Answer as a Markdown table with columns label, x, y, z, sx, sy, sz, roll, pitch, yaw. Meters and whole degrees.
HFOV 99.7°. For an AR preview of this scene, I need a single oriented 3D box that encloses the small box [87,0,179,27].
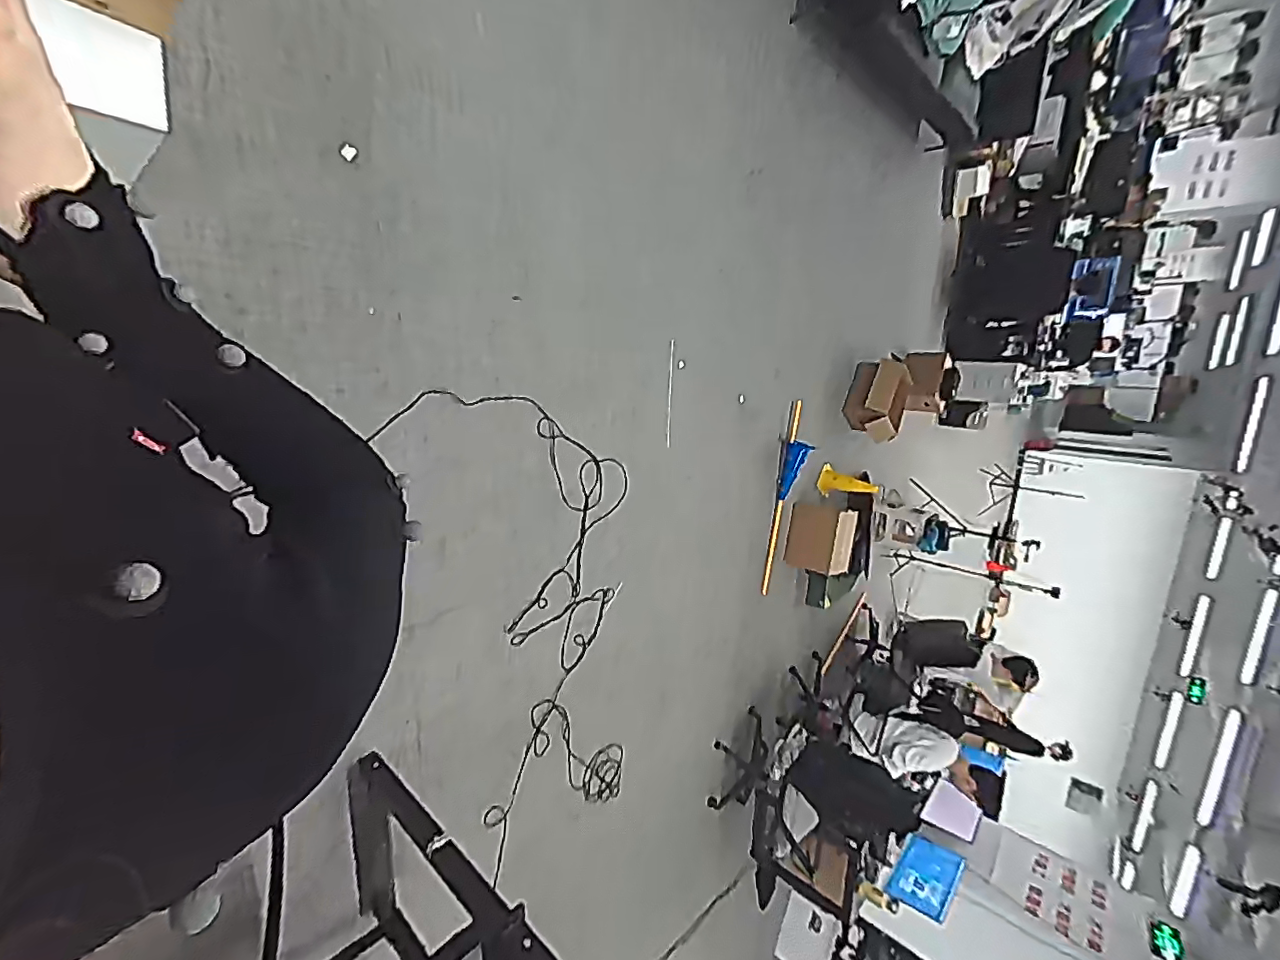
| label | x | y | z | sx | sy | sz | roll | pitch | yaw |
| --- | --- | --- | --- | --- | --- | --- | --- | --- | --- |
| small box | -0.552 | -0.599 | 0.519 | 0.168 | 0.176 | 0.179 | -5 | 104 | -47 |
